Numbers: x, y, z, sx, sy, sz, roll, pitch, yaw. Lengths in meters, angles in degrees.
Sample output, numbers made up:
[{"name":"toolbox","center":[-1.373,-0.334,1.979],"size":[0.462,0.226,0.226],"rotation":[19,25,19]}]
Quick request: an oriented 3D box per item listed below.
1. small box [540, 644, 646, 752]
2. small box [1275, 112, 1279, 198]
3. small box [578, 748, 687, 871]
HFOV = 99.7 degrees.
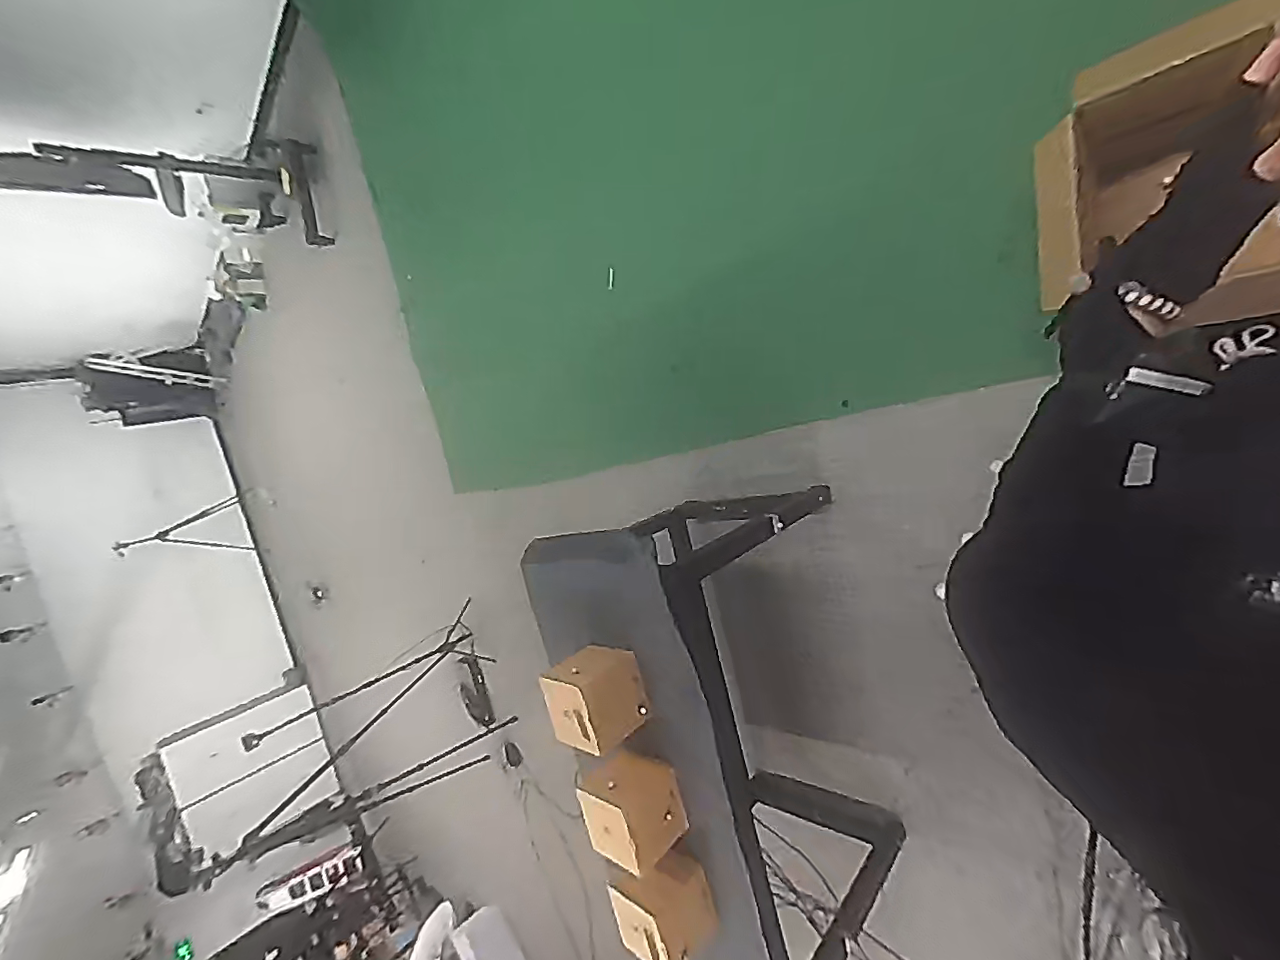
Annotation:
[{"name":"small box","center":[-0.104,0.503,1.281],"size":[0.179,0.176,0.168],"rotation":[-11,96,47]},{"name":"small box","center":[0.451,-0.253,0.267],"size":[0.168,0.176,0.179],"rotation":[3,104,46]},{"name":"small box","center":[-0.017,0.773,1.293],"size":[0.179,0.176,0.168],"rotation":[-11,96,46]}]
